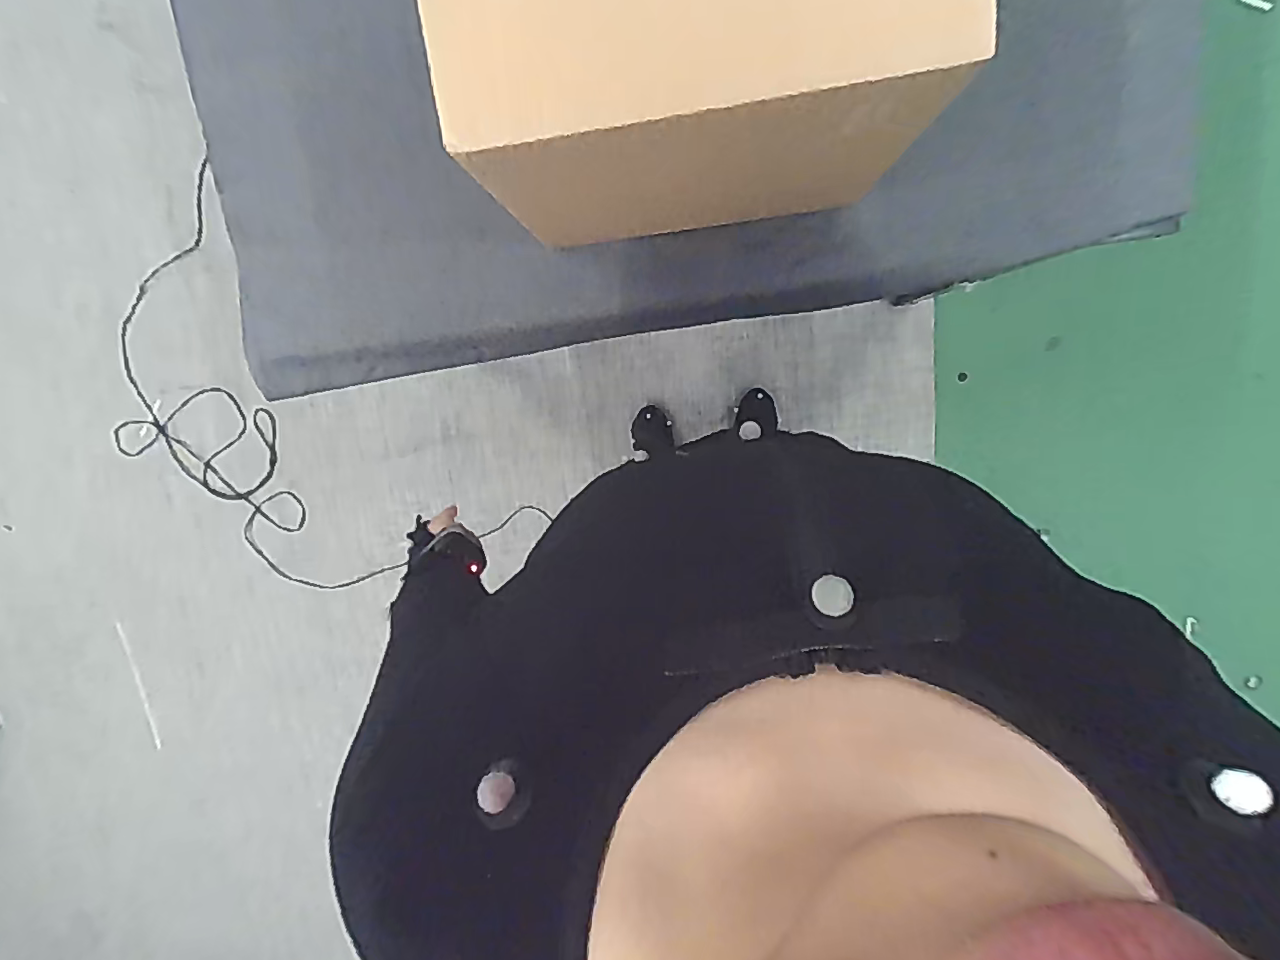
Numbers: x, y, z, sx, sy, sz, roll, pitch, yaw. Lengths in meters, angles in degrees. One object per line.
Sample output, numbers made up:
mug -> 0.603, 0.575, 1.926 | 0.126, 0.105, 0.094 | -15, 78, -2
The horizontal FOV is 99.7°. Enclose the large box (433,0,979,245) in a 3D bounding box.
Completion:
large box -> 0.041, -0.459, 0.534 | 0.408, 0.320, 0.320 | -7, 100, 6
